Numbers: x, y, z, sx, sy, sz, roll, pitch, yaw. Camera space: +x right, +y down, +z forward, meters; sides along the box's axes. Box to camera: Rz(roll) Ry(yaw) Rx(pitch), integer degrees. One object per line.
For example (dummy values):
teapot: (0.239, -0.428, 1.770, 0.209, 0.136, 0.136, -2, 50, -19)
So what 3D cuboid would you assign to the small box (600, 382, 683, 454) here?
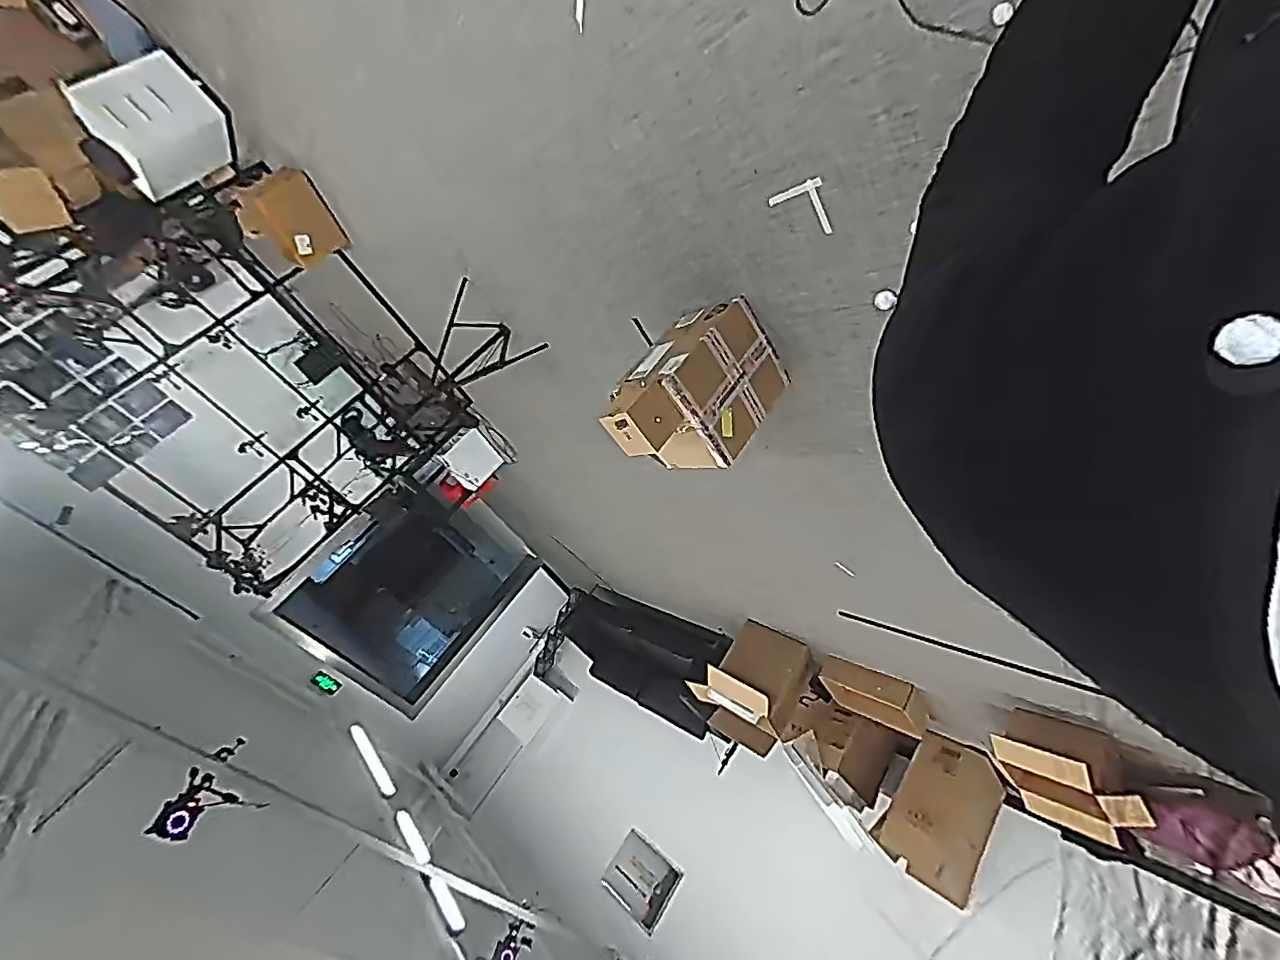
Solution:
small box: (0.008, -0.208, 1.794, 0.168, 0.176, 0.179, -3, 132, 53)
